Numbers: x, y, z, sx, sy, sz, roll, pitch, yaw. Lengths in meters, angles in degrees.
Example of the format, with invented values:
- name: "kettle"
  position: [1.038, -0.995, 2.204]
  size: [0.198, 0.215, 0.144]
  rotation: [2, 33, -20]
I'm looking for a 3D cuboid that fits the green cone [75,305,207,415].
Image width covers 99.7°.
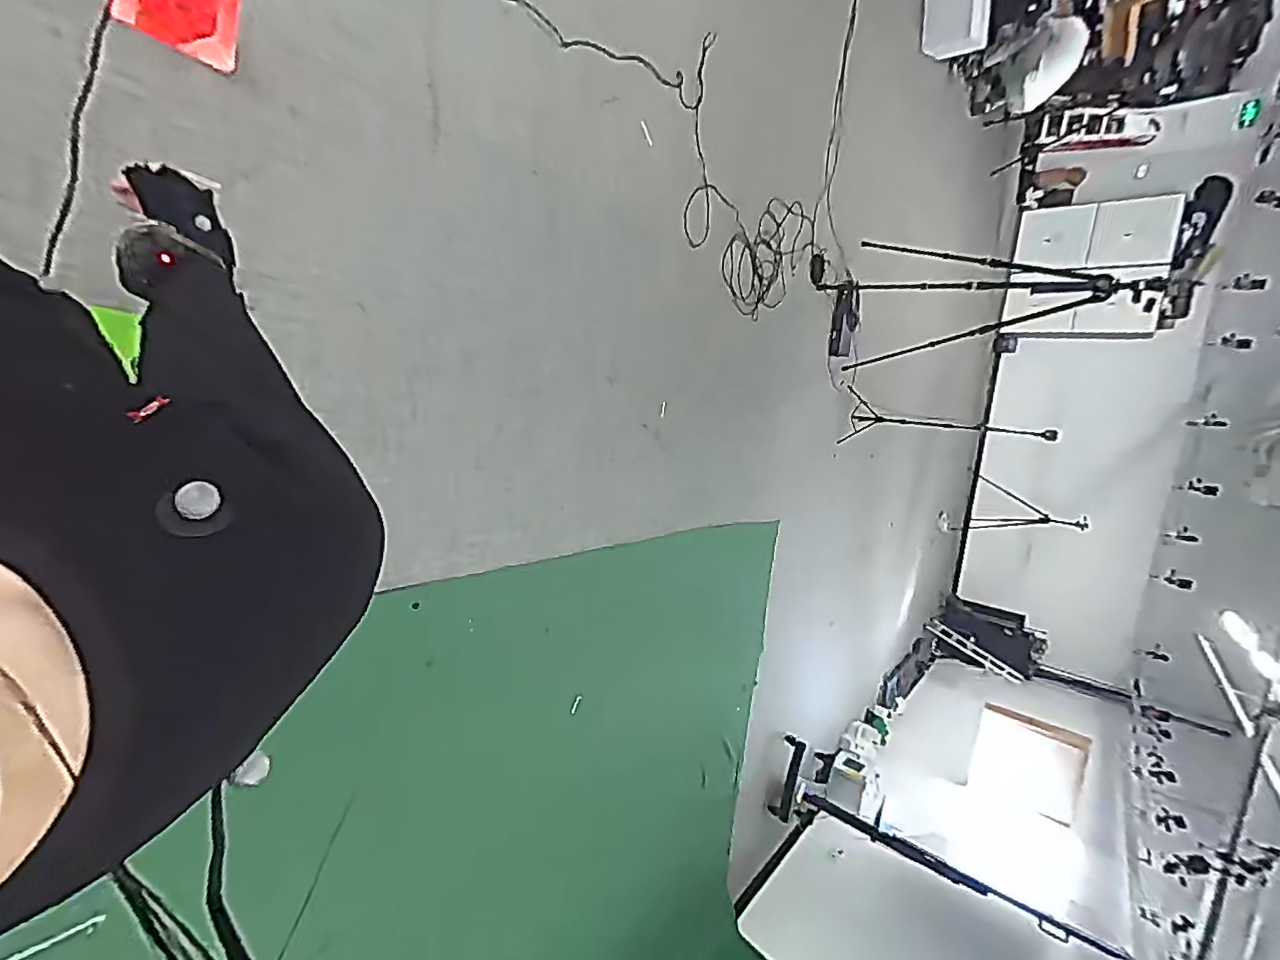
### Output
- name: "green cone"
  position: [-0.893, -0.216, 1.010]
  size: [0.200, 0.368, 0.202]
  rotation: [0, 98, -51]

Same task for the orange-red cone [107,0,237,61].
- name: "orange-red cone"
  position: [-0.787, -0.937, 0.948]
  size: [0.198, 0.360, 0.199]
  rotation: [5, 98, -50]
